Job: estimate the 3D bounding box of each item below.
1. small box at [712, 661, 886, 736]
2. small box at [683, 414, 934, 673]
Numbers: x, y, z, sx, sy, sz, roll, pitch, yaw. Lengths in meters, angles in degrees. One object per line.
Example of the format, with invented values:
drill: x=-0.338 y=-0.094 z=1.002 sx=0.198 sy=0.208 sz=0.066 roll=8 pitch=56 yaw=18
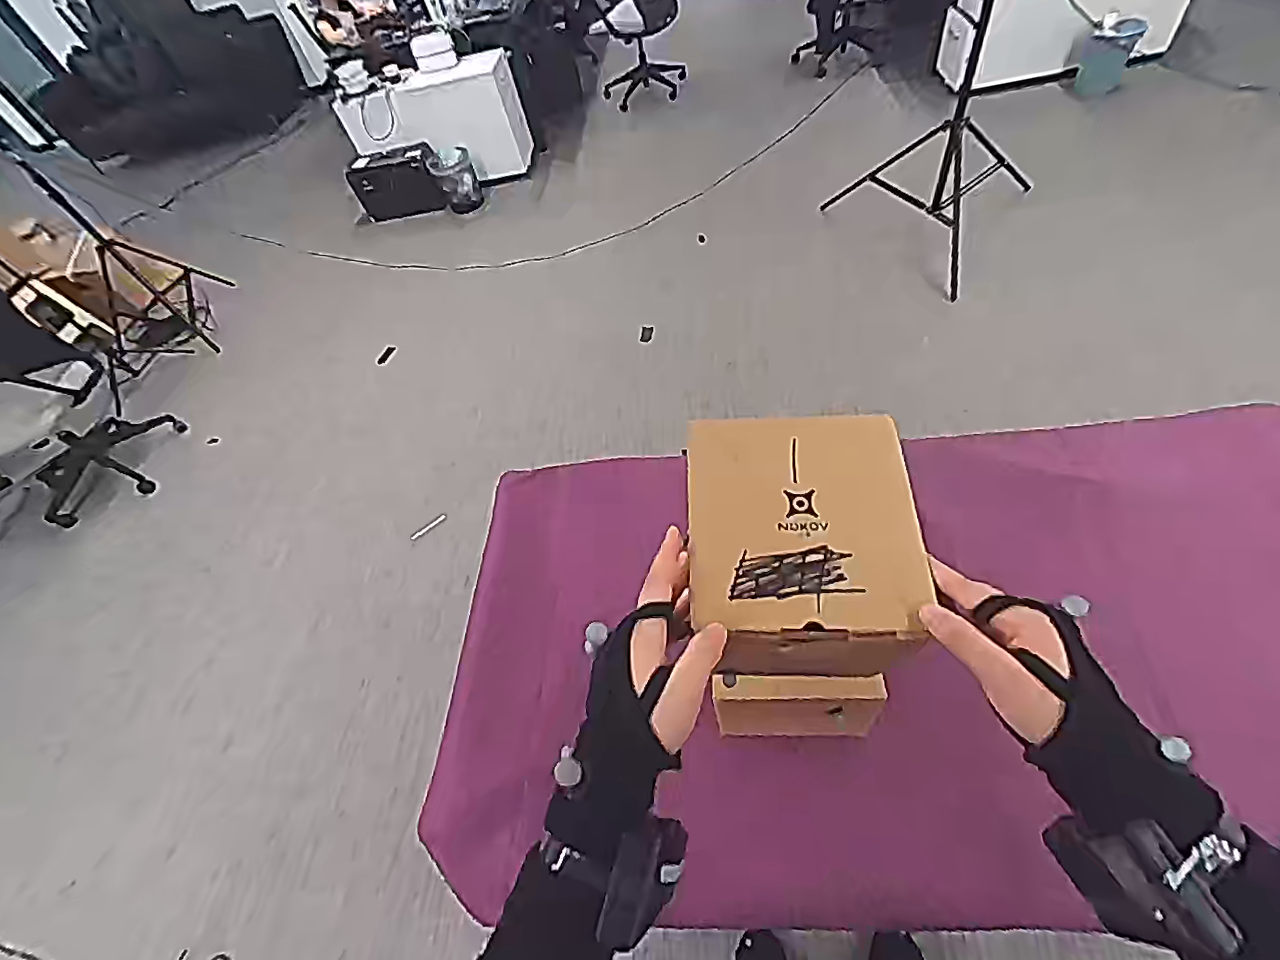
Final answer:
small box: x=0.179 y=0.205 z=0.660 sx=0.179 sy=0.176 sz=0.168 roll=-4 pitch=52 yaw=10
small box: x=0.123 y=0.064 z=0.468 sx=0.168 sy=0.176 sz=0.179 roll=-1 pitch=60 yaw=6
